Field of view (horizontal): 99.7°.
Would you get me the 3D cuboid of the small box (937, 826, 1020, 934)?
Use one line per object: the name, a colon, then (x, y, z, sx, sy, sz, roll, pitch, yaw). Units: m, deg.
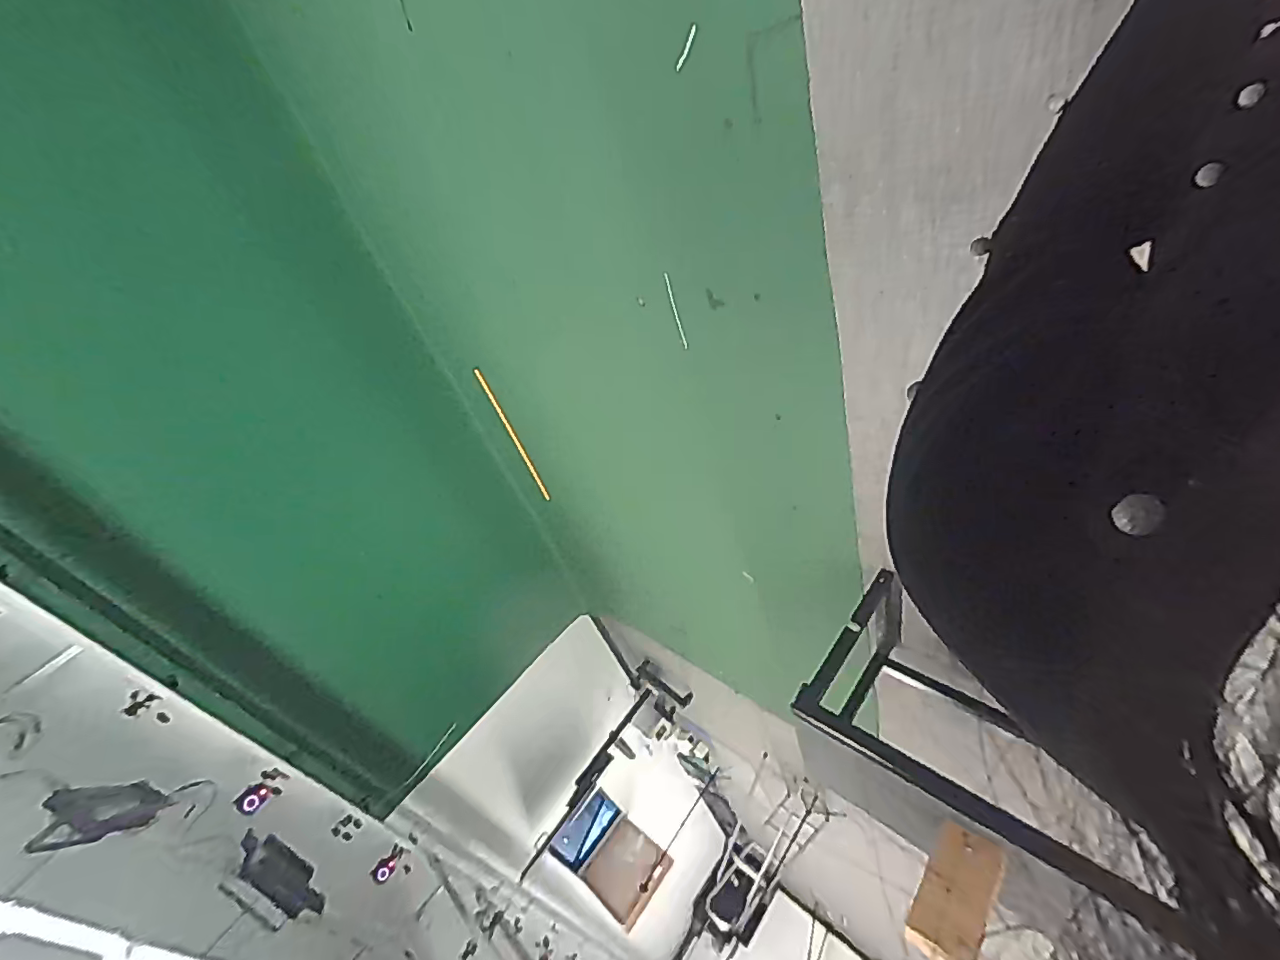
small box: (0.998, 1.175, 1.595, 0.168, 0.176, 0.179, 16, 141, 43)
